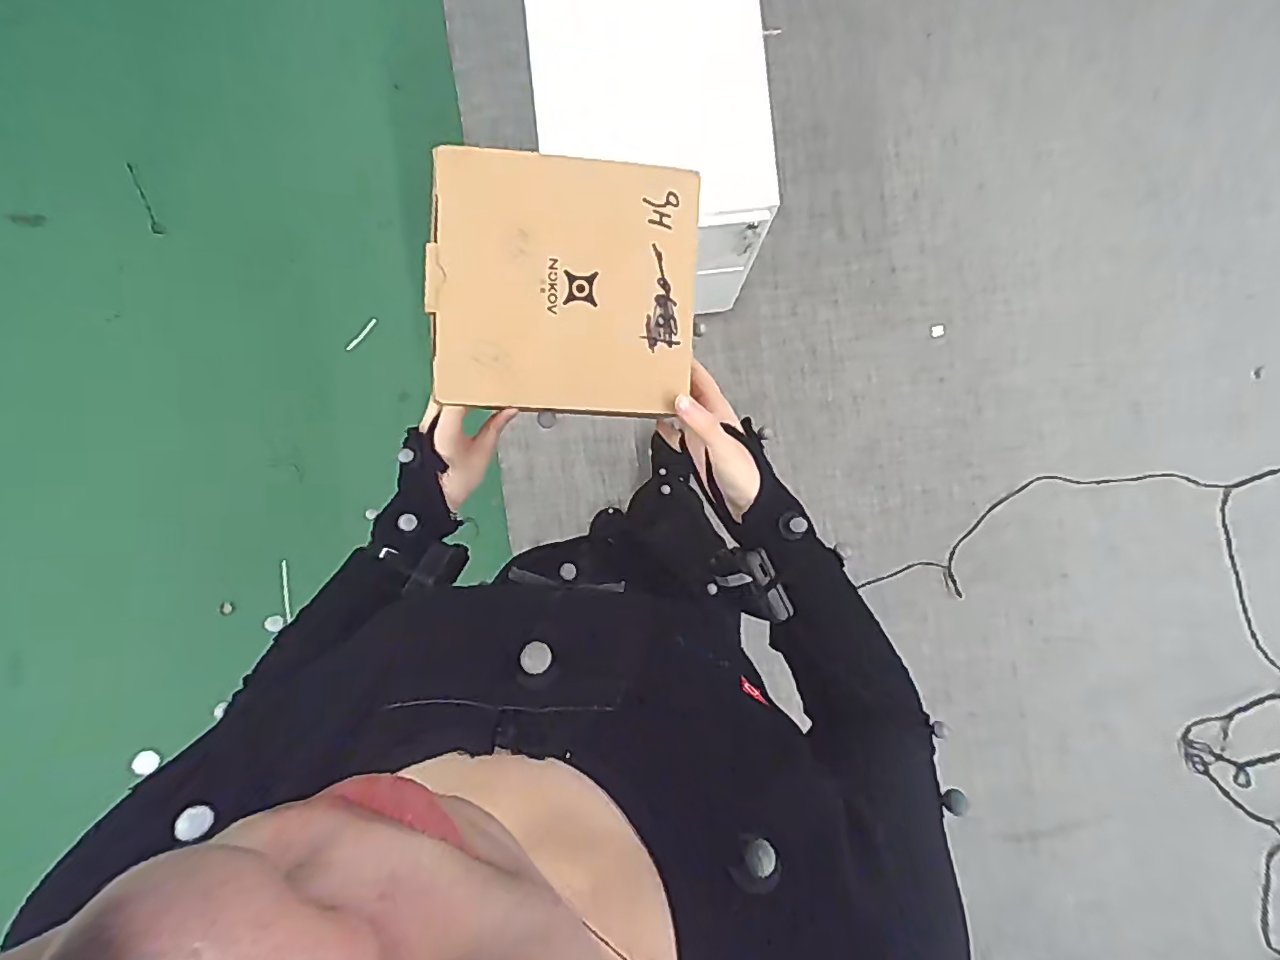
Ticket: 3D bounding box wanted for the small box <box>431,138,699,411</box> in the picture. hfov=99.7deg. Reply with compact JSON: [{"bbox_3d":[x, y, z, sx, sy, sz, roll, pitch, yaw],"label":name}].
[{"bbox_3d":[-0.058,-0.145,0.444,0.179,0.176,0.168,2,95,-6],"label":"small box"}]
